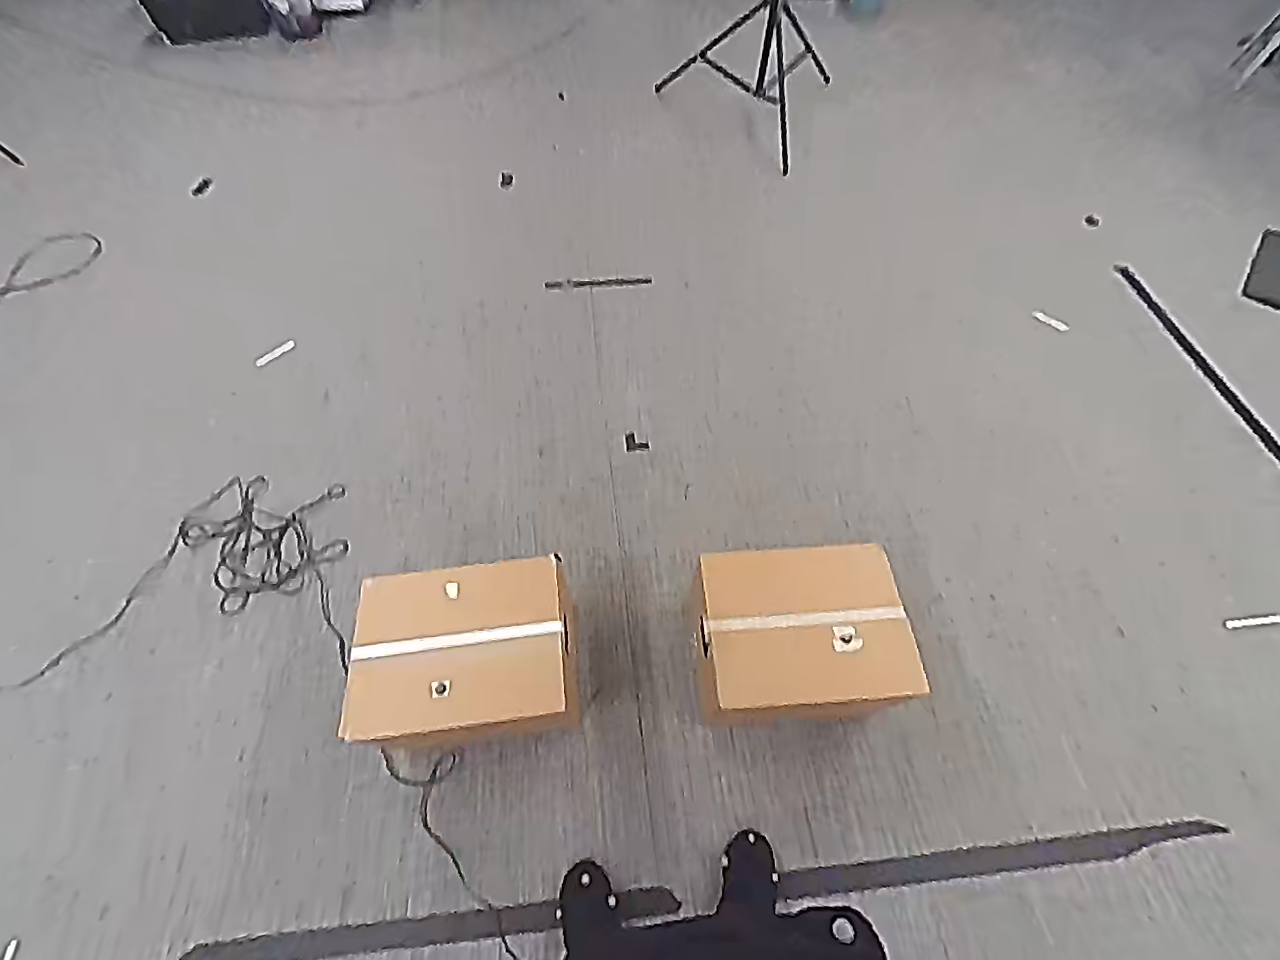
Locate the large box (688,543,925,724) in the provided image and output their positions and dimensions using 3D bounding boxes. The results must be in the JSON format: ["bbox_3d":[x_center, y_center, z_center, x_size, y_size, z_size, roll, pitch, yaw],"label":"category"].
[{"bbox_3d":[0.337,0.357,1.228,0.408,0.320,0.320,-3,60,-3],"label":"large box"}]
